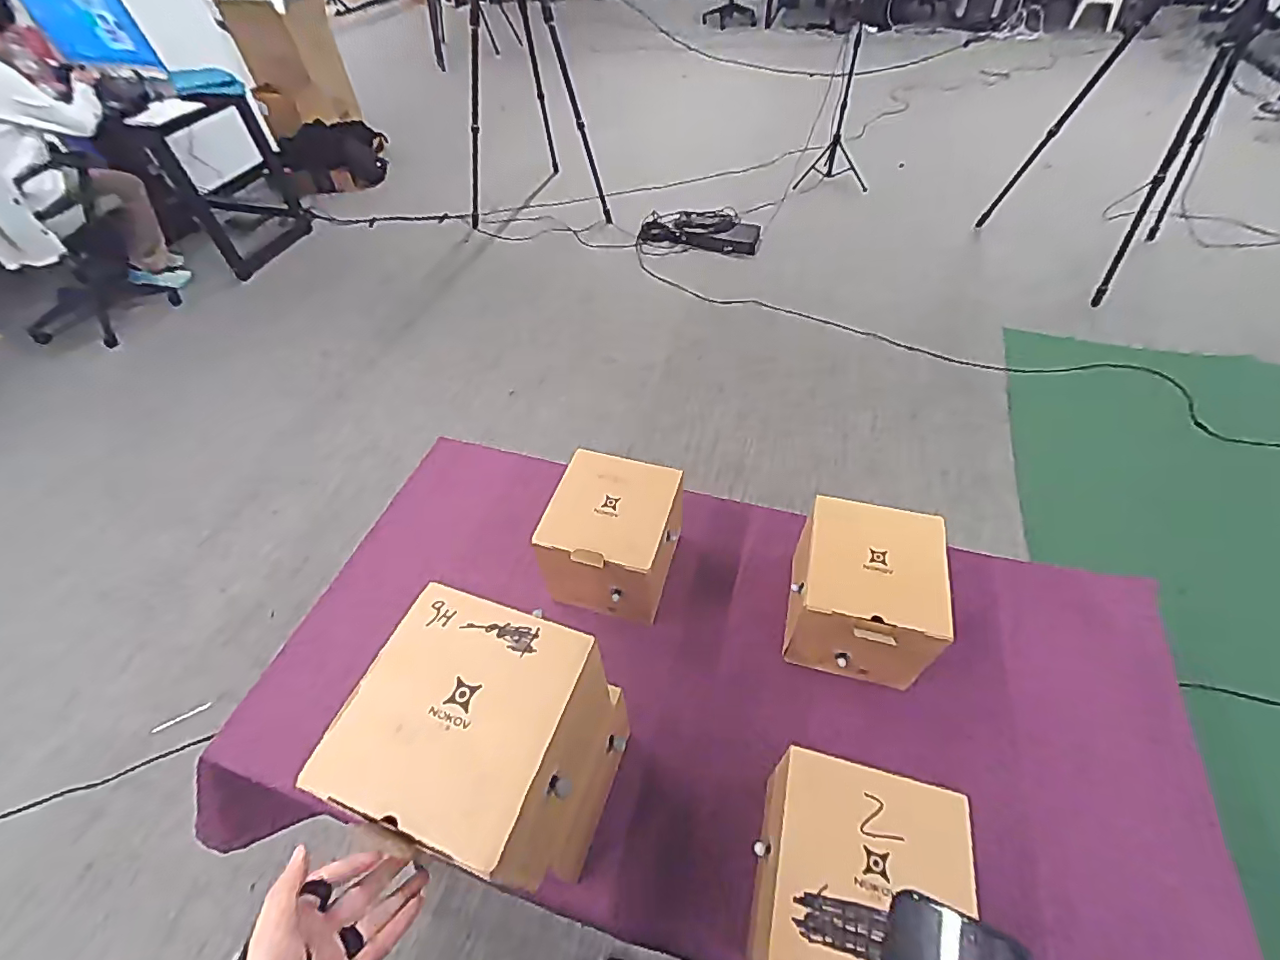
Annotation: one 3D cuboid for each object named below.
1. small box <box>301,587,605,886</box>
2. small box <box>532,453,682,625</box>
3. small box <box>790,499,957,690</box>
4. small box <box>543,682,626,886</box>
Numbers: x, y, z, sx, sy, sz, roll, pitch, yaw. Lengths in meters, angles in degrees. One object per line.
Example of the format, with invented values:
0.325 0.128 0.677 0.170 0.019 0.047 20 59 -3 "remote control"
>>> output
-0.138 0.229 0.480 0.168 0.176 0.179 14 53 14 "small box"
-0.037 0.091 0.805 0.168 0.176 0.179 13 52 12 "small box"
0.302 0.155 0.732 0.168 0.176 0.179 9 50 12 "small box"
-0.120 0.324 0.614 0.168 0.176 0.179 14 52 15 "small box"
